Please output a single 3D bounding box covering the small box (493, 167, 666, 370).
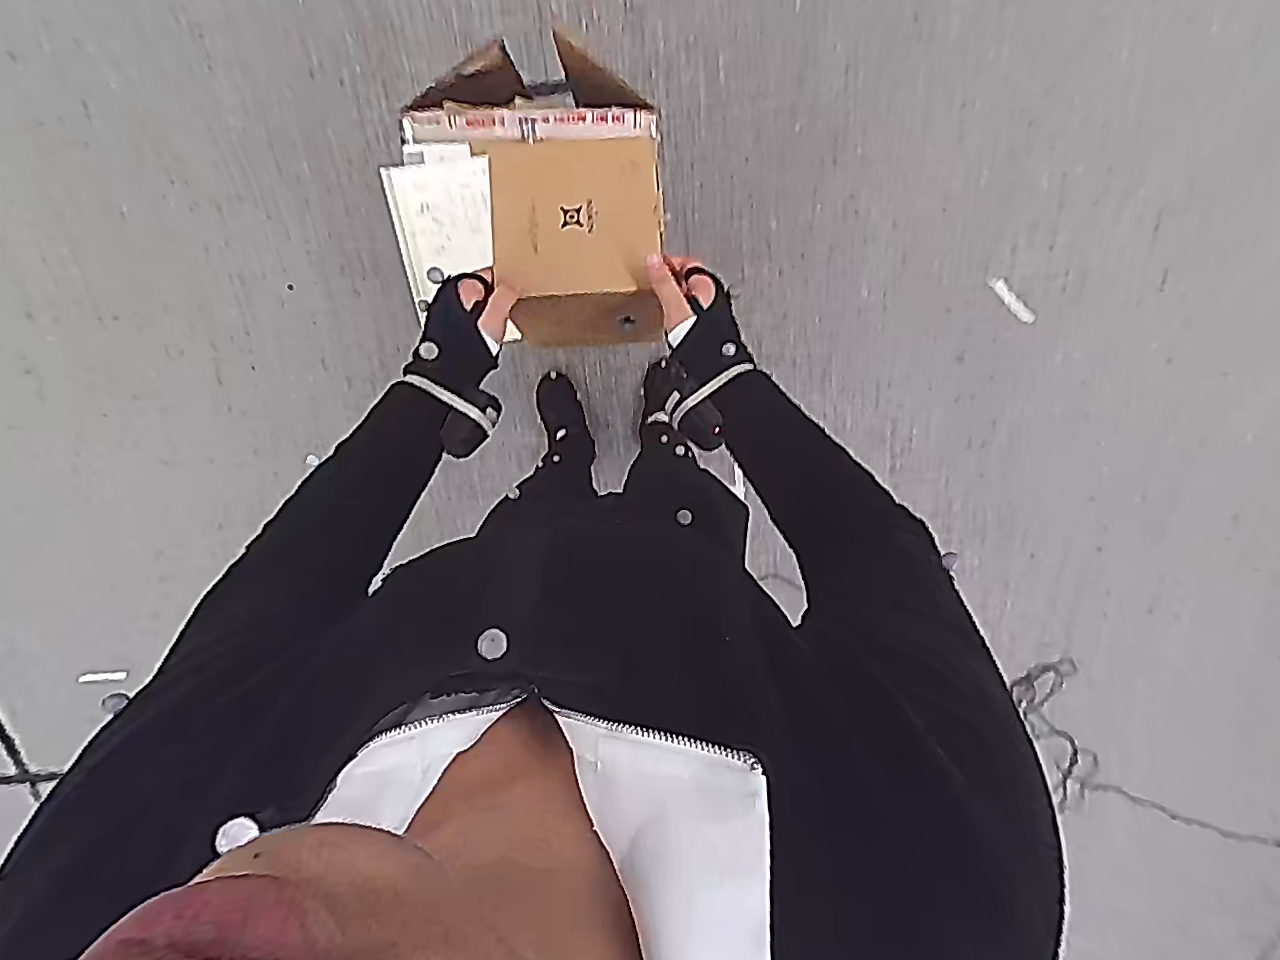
[{"bbox_3d":[-0.063,-0.236,0.641,0.179,0.176,0.168,-4,85,2],"label":"small box"}]
